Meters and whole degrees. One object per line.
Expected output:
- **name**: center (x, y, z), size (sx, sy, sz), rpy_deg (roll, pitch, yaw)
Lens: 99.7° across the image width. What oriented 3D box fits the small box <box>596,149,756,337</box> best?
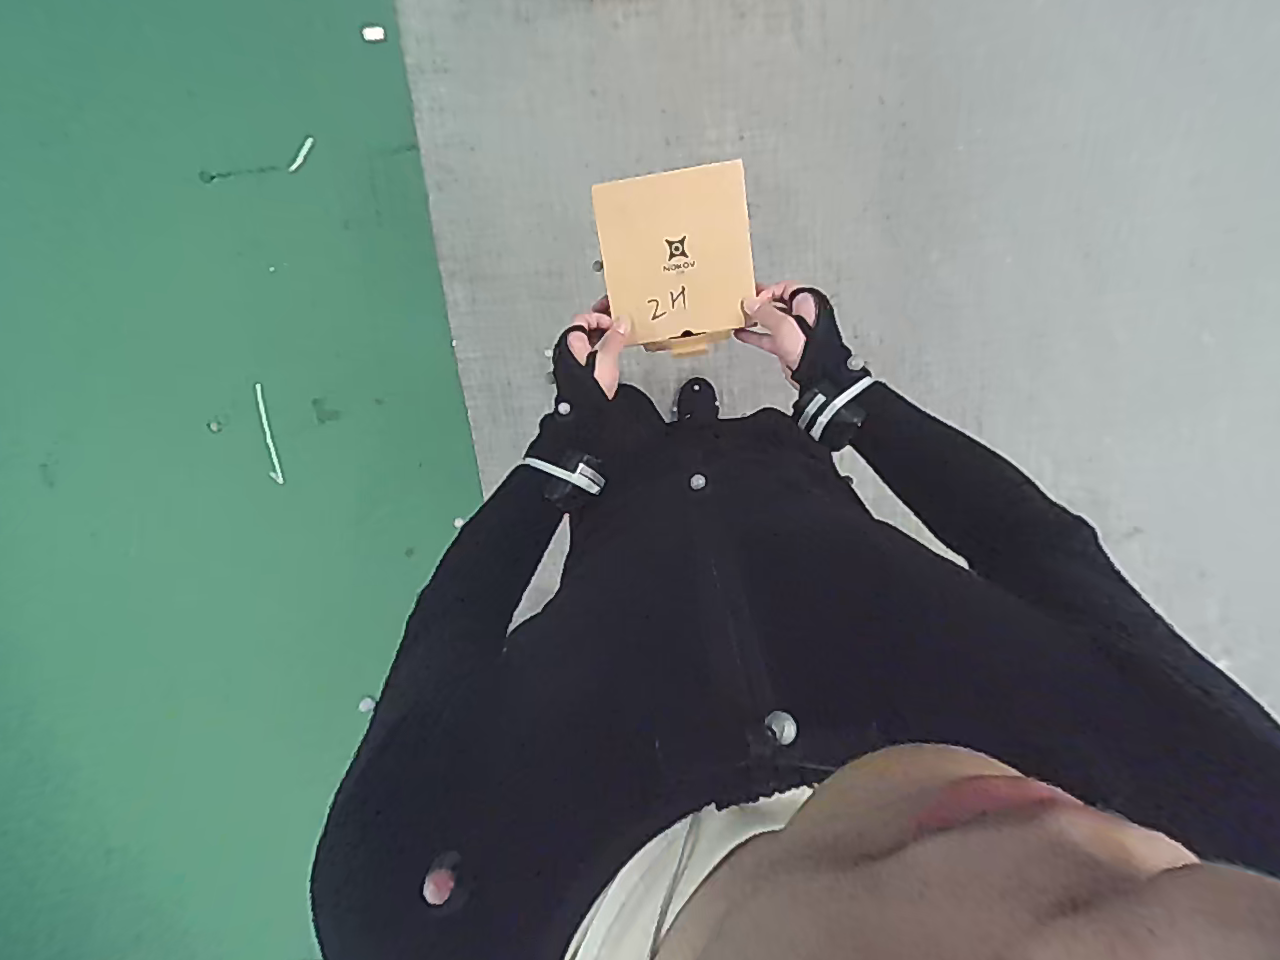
- **small box**: center (0.042, -0.276, 0.667), size (0.168, 0.176, 0.179), rpy_deg (-6, 104, 3)
